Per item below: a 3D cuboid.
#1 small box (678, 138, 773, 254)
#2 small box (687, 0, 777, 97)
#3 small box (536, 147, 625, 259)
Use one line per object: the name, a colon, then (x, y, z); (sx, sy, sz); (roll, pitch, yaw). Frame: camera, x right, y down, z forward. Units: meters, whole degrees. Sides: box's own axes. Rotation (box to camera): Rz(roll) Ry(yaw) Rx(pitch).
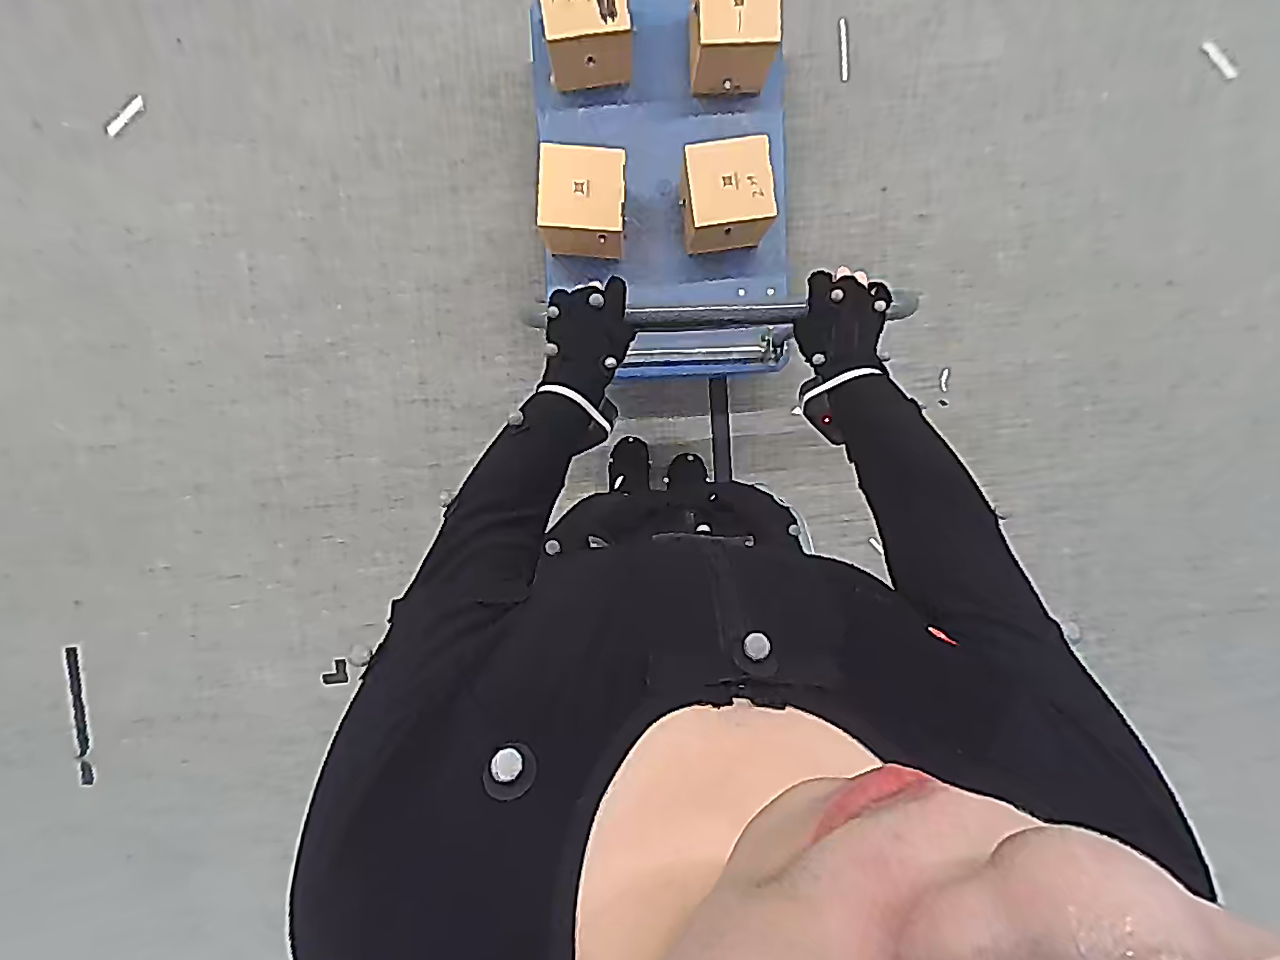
small box: (0.181, -0.617, 1.196); (0.179, 0.176, 0.168); (-8, 95, -1)
small box: (0.193, -0.972, 1.169); (0.168, 0.176, 0.179); (-2, 96, -1)
small box: (-0.126, -0.600, 1.190); (0.179, 0.176, 0.168); (3, 94, -3)
